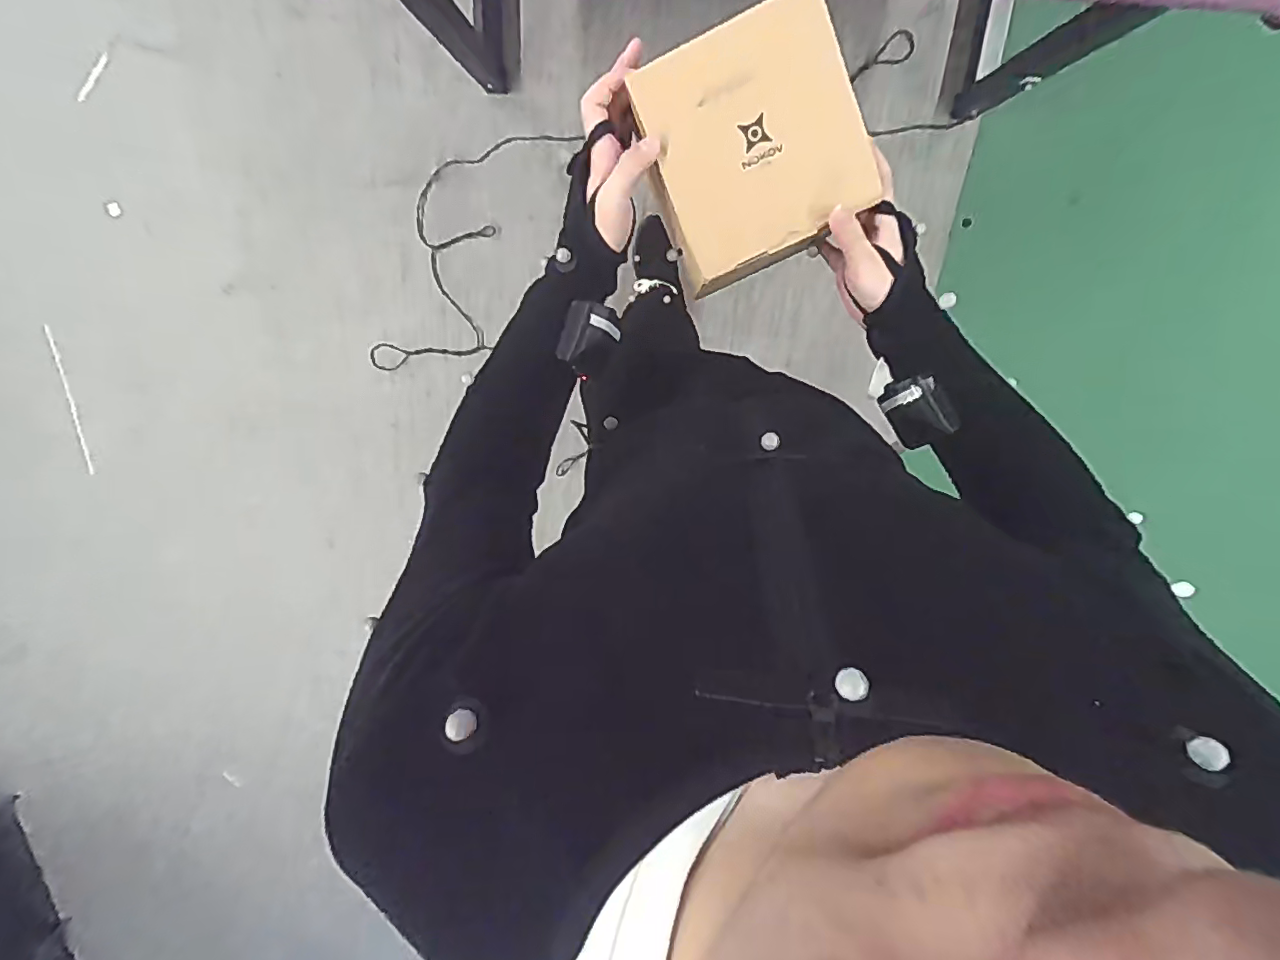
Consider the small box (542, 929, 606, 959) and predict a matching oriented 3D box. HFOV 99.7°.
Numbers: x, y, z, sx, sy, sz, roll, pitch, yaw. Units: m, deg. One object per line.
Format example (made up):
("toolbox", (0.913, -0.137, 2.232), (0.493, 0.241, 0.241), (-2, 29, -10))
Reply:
("small box", (-0.185, 1.363, 1.462), (0.168, 0.176, 0.179), (3, 109, 3))
